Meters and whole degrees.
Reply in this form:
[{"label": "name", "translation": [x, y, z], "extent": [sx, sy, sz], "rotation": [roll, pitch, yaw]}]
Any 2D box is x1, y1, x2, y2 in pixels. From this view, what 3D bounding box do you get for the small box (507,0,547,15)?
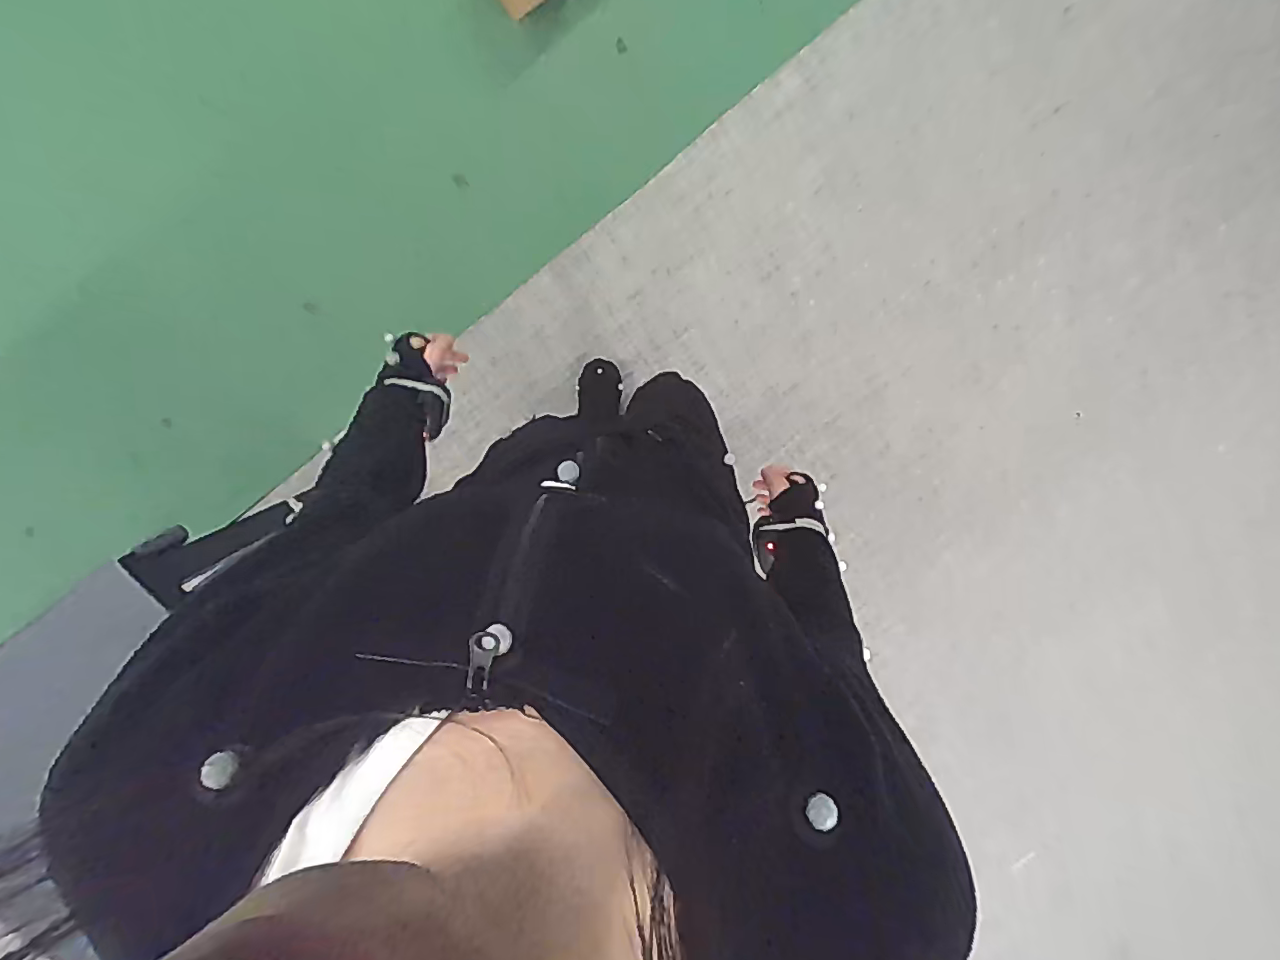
[{"label": "small box", "translation": [-0.256, -1.162, 1.164], "extent": [0.168, 0.176, 0.179], "rotation": [-37, 100, 6]}]
